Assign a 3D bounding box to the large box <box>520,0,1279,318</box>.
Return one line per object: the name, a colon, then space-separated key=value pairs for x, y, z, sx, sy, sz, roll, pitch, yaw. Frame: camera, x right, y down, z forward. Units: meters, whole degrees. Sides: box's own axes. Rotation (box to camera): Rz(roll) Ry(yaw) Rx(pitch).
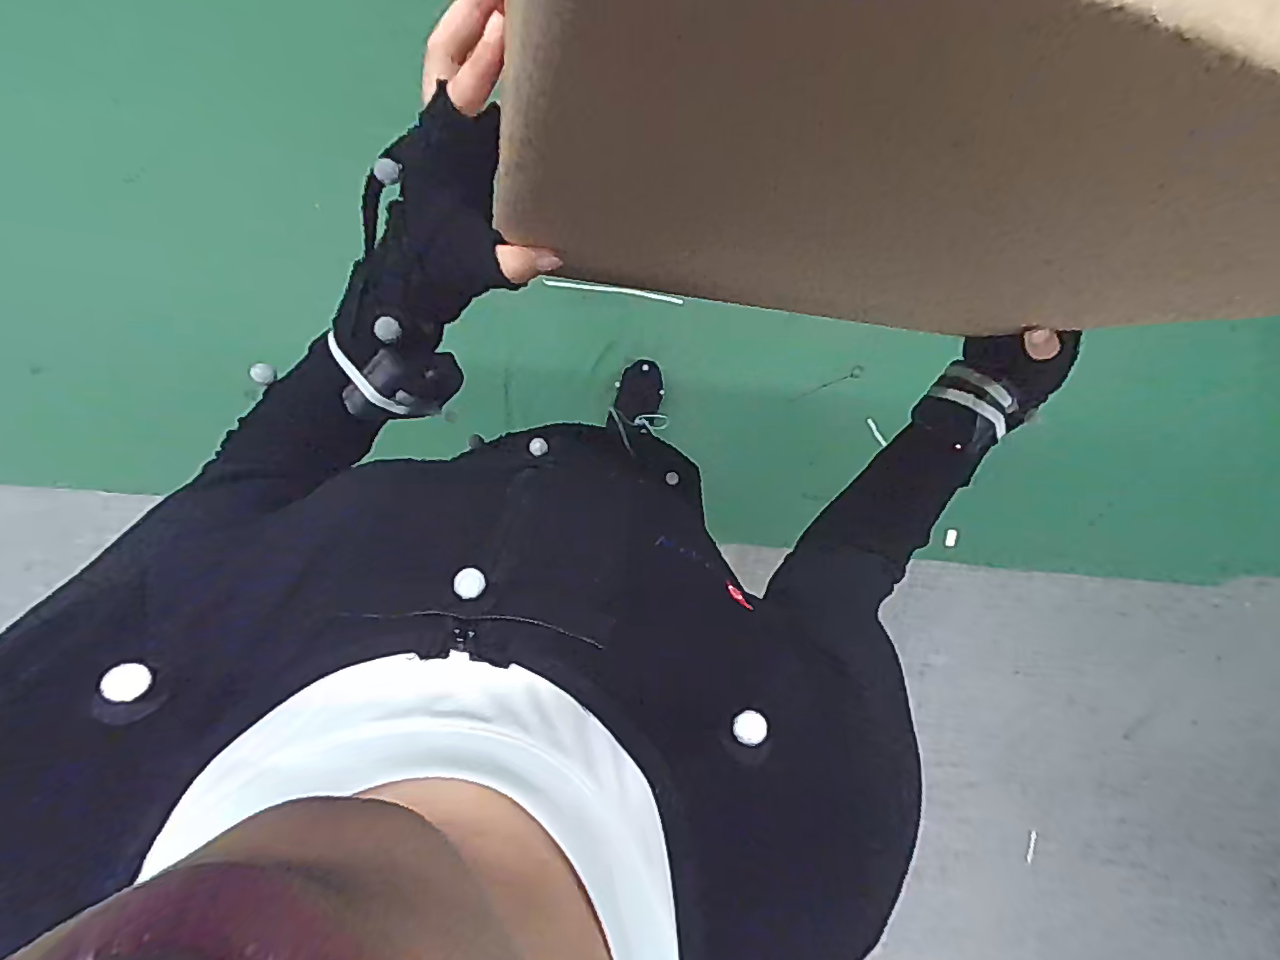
large box: x=0.164 y=-0.262 z=0.243 sx=0.408 sy=0.320 sz=0.320 roll=1 pitch=102 yaw=-18
